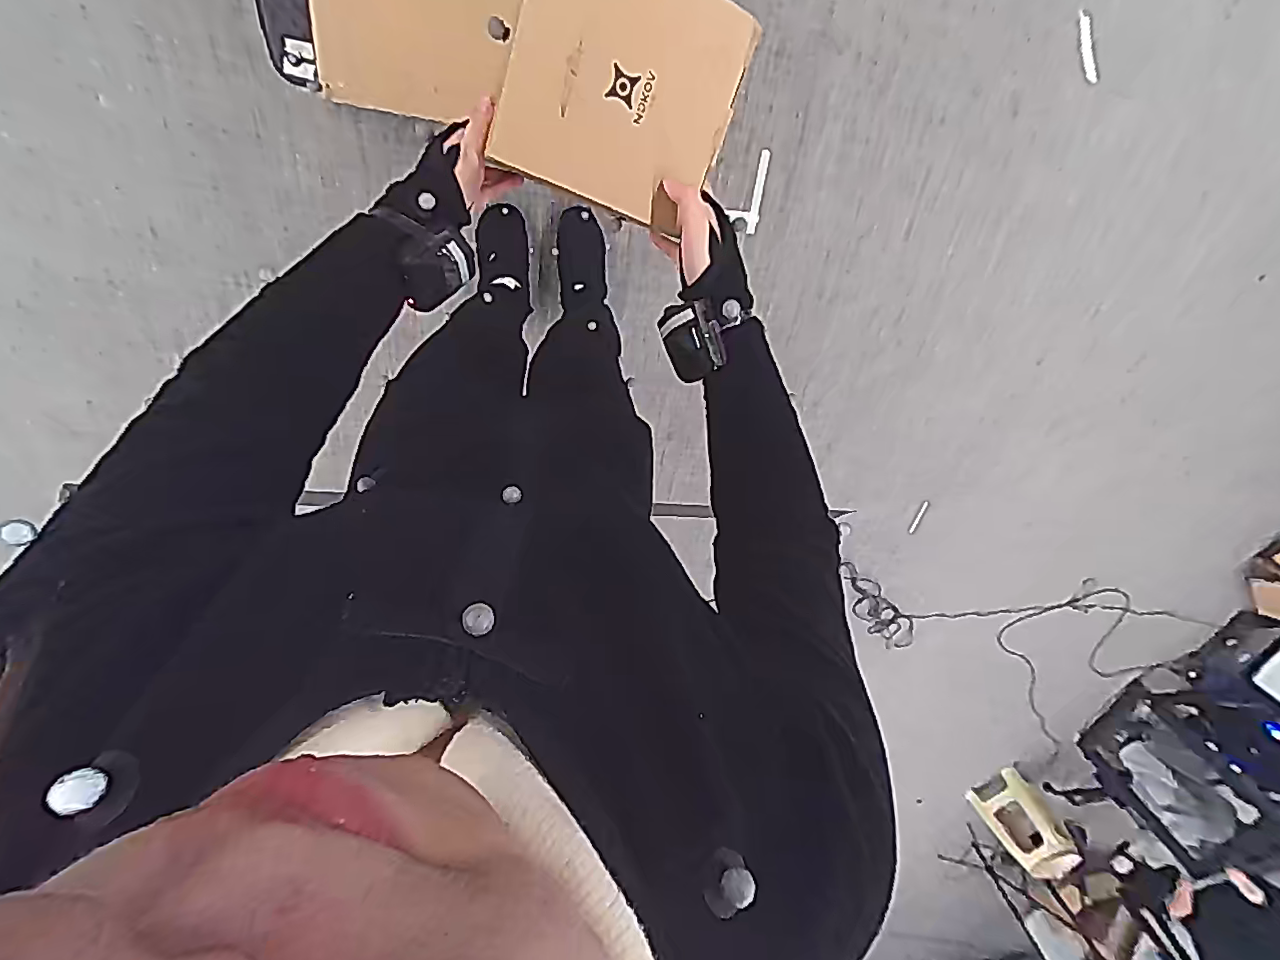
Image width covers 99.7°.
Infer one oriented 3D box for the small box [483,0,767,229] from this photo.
[{"bbox_3d":[-0.029,-0.343,0.472,0.179,0.176,0.168,12,114,-24],"label":"small box"}]
